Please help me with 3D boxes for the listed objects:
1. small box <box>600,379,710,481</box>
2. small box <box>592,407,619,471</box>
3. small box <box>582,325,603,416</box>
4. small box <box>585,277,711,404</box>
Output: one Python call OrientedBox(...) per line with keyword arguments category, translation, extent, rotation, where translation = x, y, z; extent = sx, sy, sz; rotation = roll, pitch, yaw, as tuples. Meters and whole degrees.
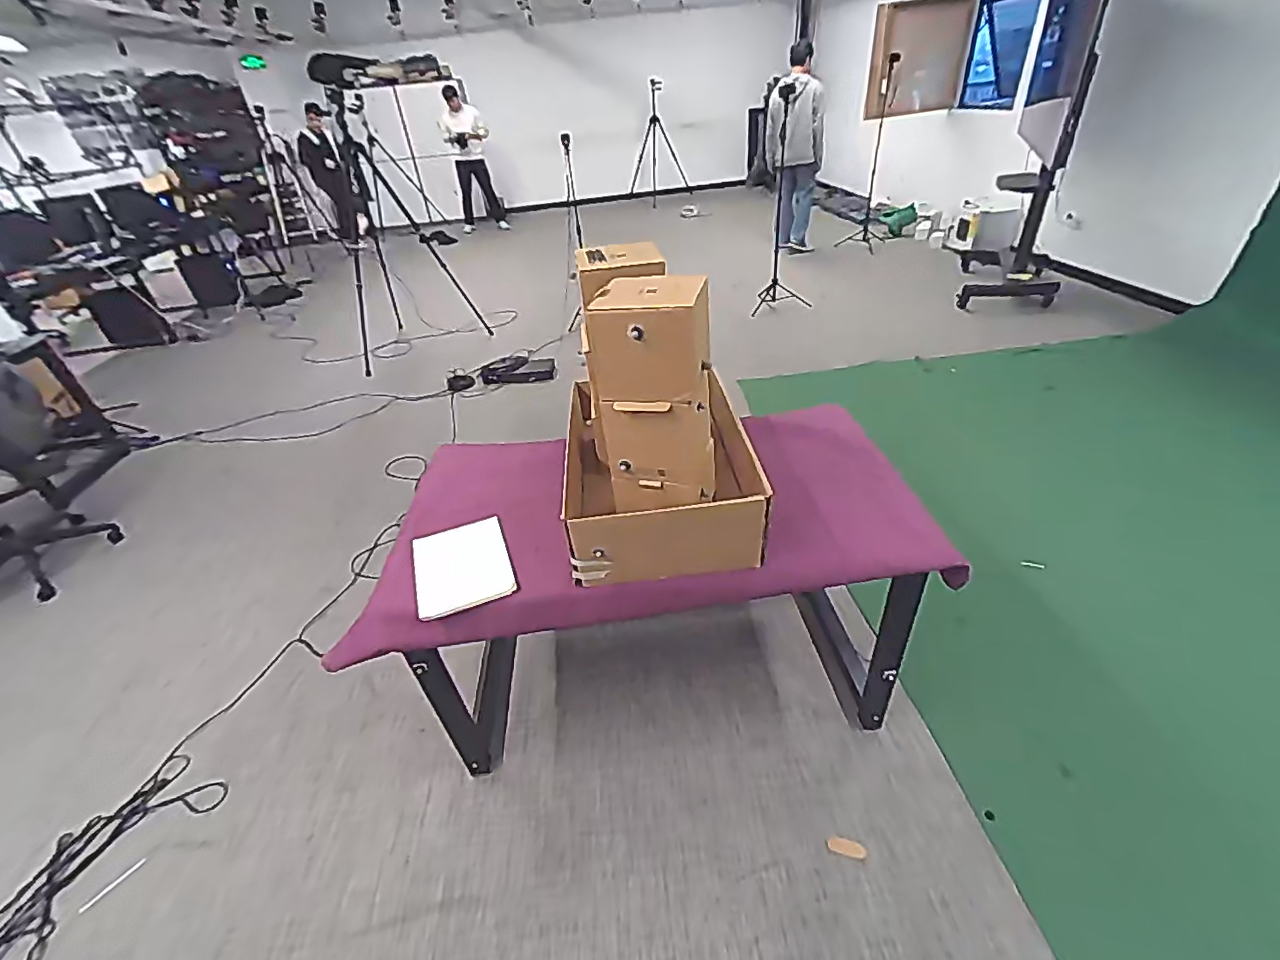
OrientedBox(category="small box", translation=(0.039, -0.112, 1.040), extent=(0.168, 0.176, 0.179), rotation=(5, 36, 17))
OrientedBox(category="small box", translation=(-0.028, -0.135, 1.367), extent=(0.168, 0.176, 0.179), rotation=(-6, 38, 0))
OrientedBox(category="small box", translation=(-0.036, -0.262, 1.268), extent=(0.179, 0.176, 0.168), rotation=(-8, 37, -2))
OrientedBox(category="small box", translation=(0.024, -0.243, 0.943), extent=(0.179, 0.176, 0.168), rotation=(4, 37, 15))
